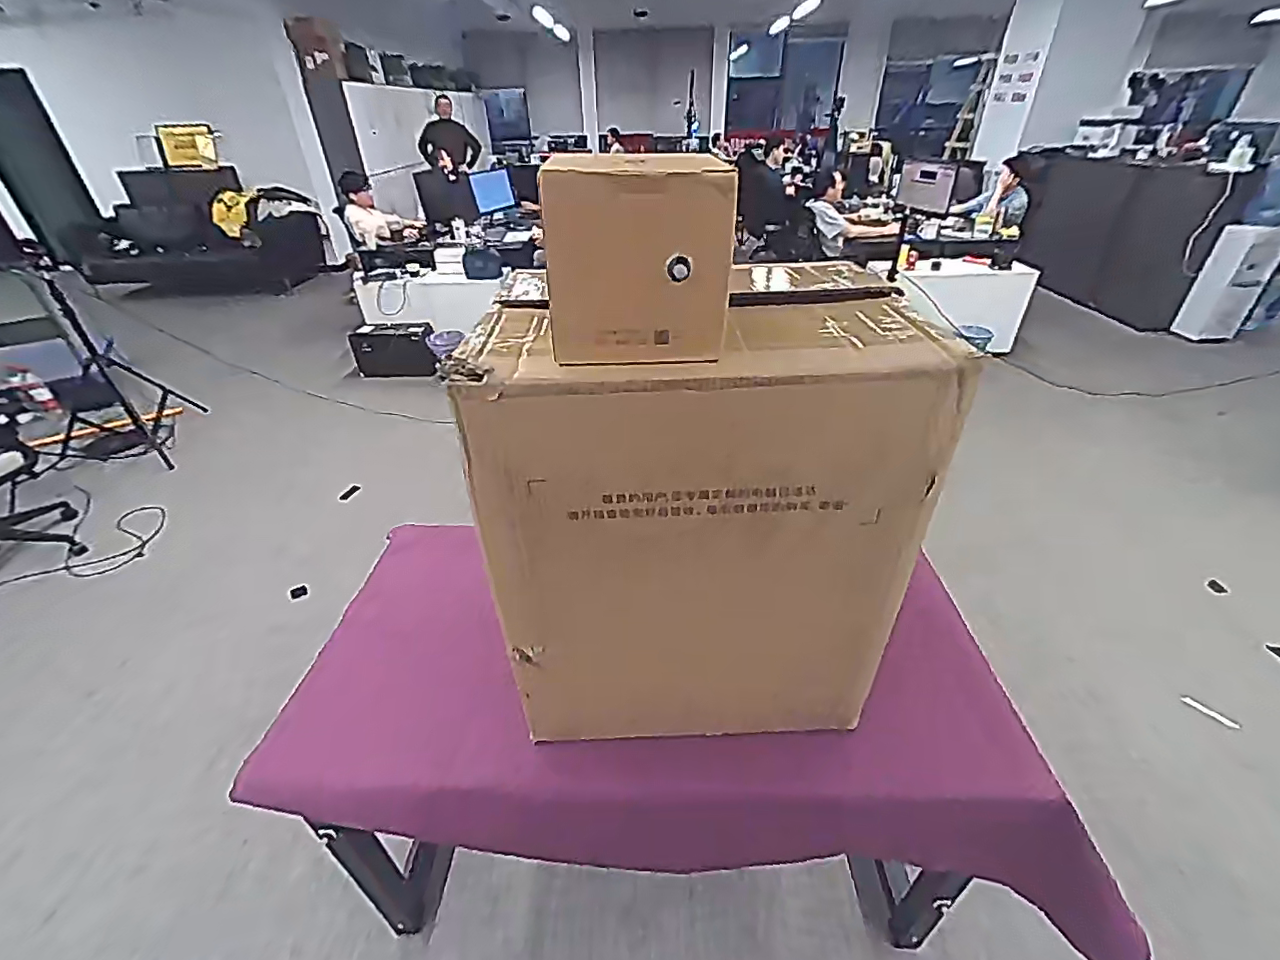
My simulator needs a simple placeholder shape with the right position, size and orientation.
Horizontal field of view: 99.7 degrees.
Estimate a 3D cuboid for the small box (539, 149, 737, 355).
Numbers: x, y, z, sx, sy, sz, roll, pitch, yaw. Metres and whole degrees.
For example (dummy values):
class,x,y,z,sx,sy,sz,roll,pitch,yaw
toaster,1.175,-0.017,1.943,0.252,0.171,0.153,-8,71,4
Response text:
class,x,y,z,sx,sy,sz,roll,pitch,yaw
small box,-0.003,-0.233,0.549,0.168,0.176,0.179,-1,33,-3
